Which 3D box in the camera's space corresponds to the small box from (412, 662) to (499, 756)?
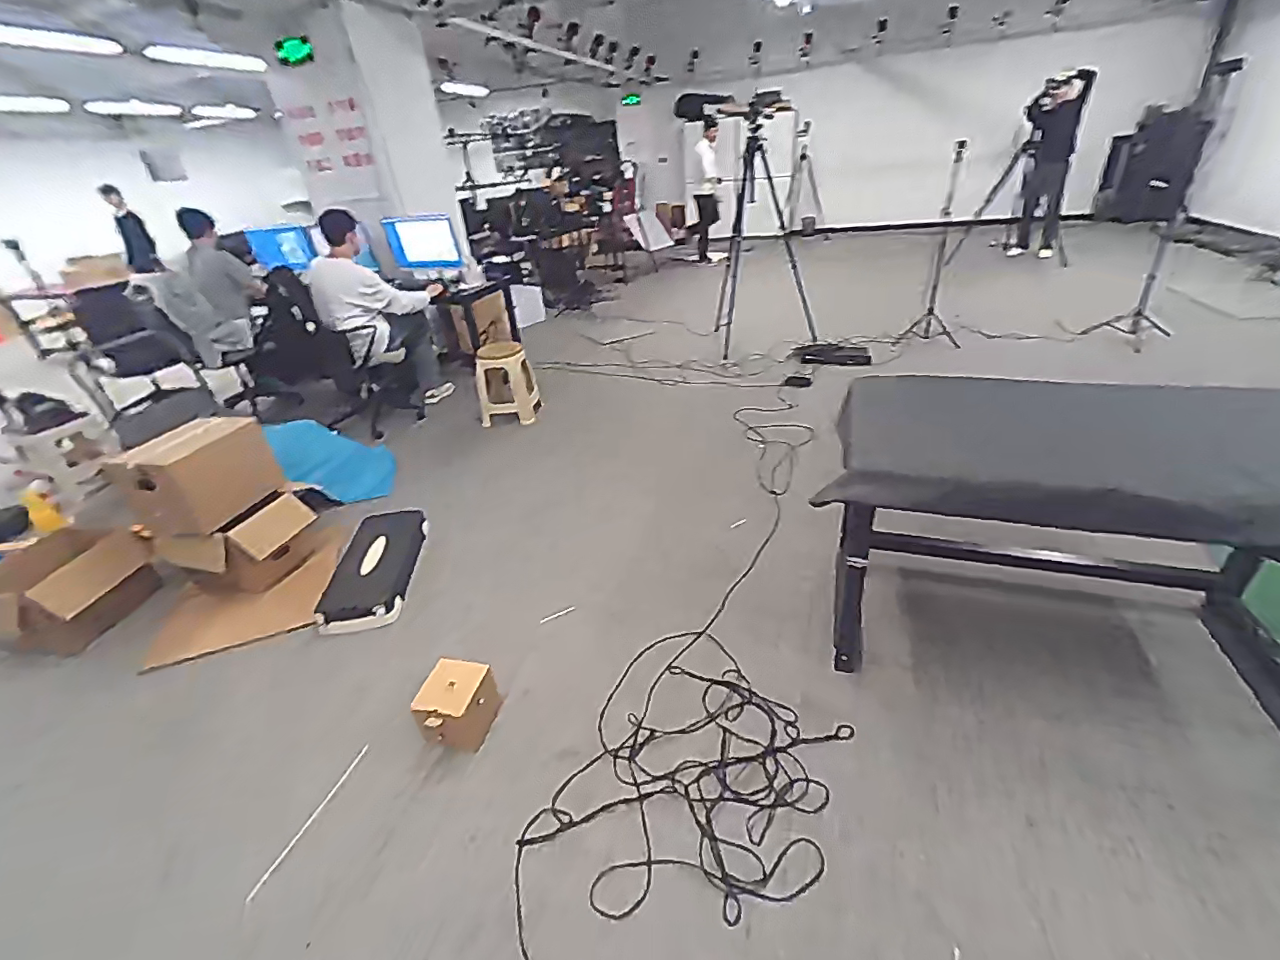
[{"bbox_3d":[-0.528,0.666,1.576,0.168,0.176,0.179,3,32,13],"label":"small box"}]
